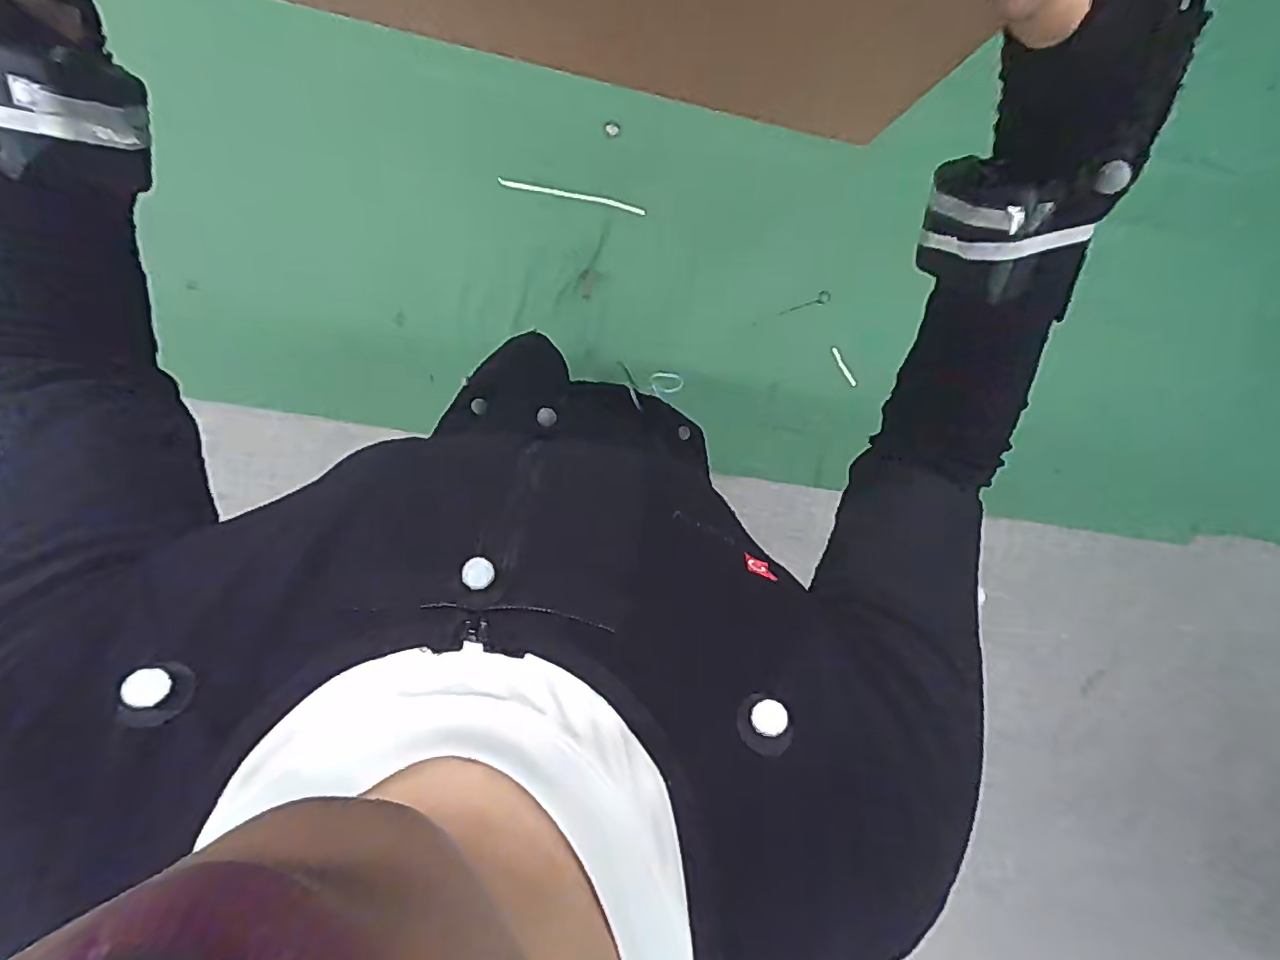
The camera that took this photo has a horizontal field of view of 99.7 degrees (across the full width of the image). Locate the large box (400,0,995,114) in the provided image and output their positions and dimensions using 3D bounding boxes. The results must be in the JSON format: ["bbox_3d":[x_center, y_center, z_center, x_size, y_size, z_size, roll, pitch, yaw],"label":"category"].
[{"bbox_3d":[-0.018,-0.357,0.119,0.408,0.320,0.320,9,100,-8],"label":"large box"}]
